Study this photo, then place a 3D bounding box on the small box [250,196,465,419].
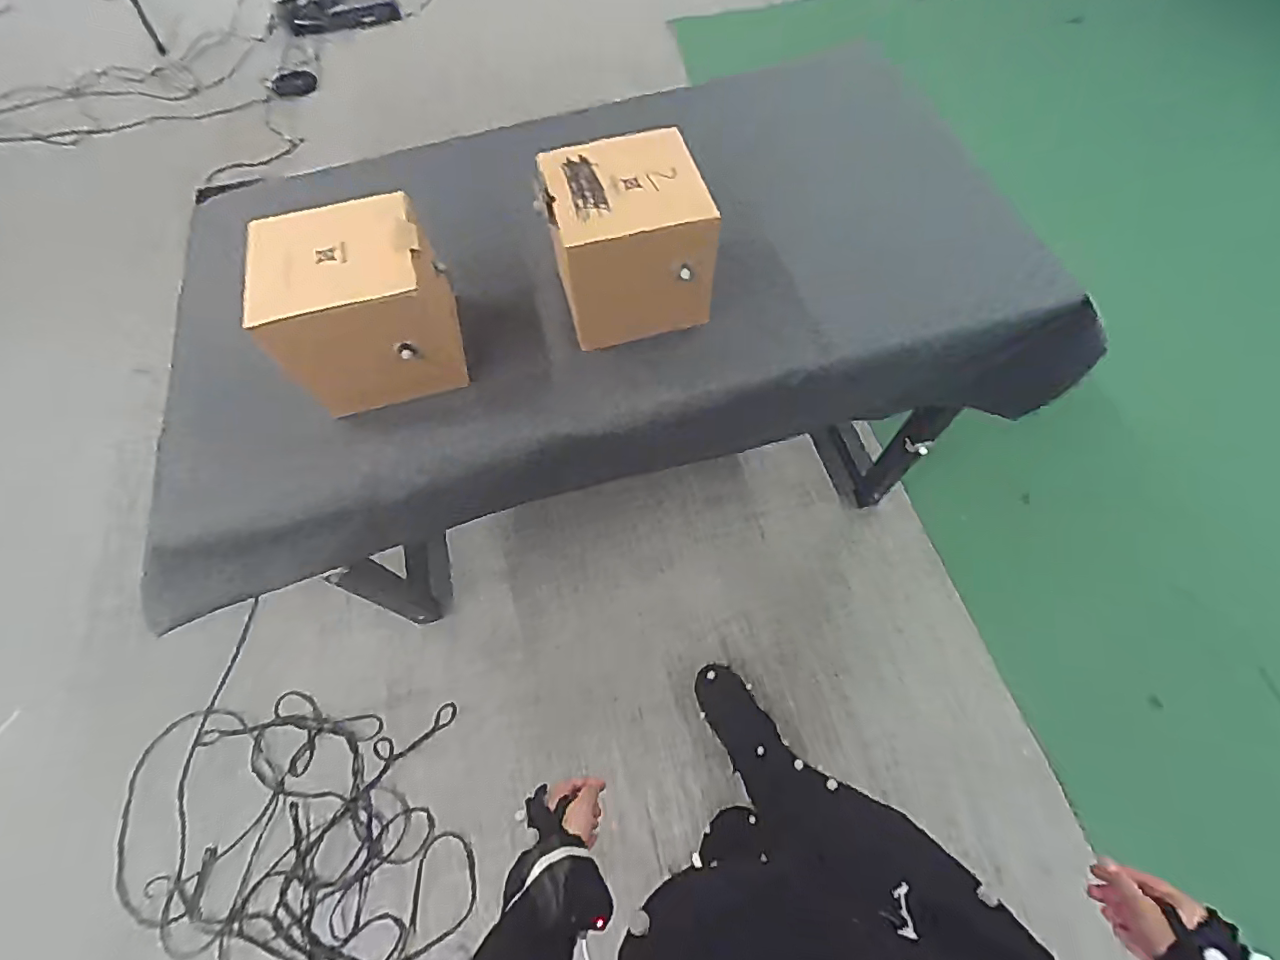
[{"bbox_3d":[-0.322,-0.198,0.649,0.179,0.176,0.168,-16,63,-5],"label":"small box"}]
